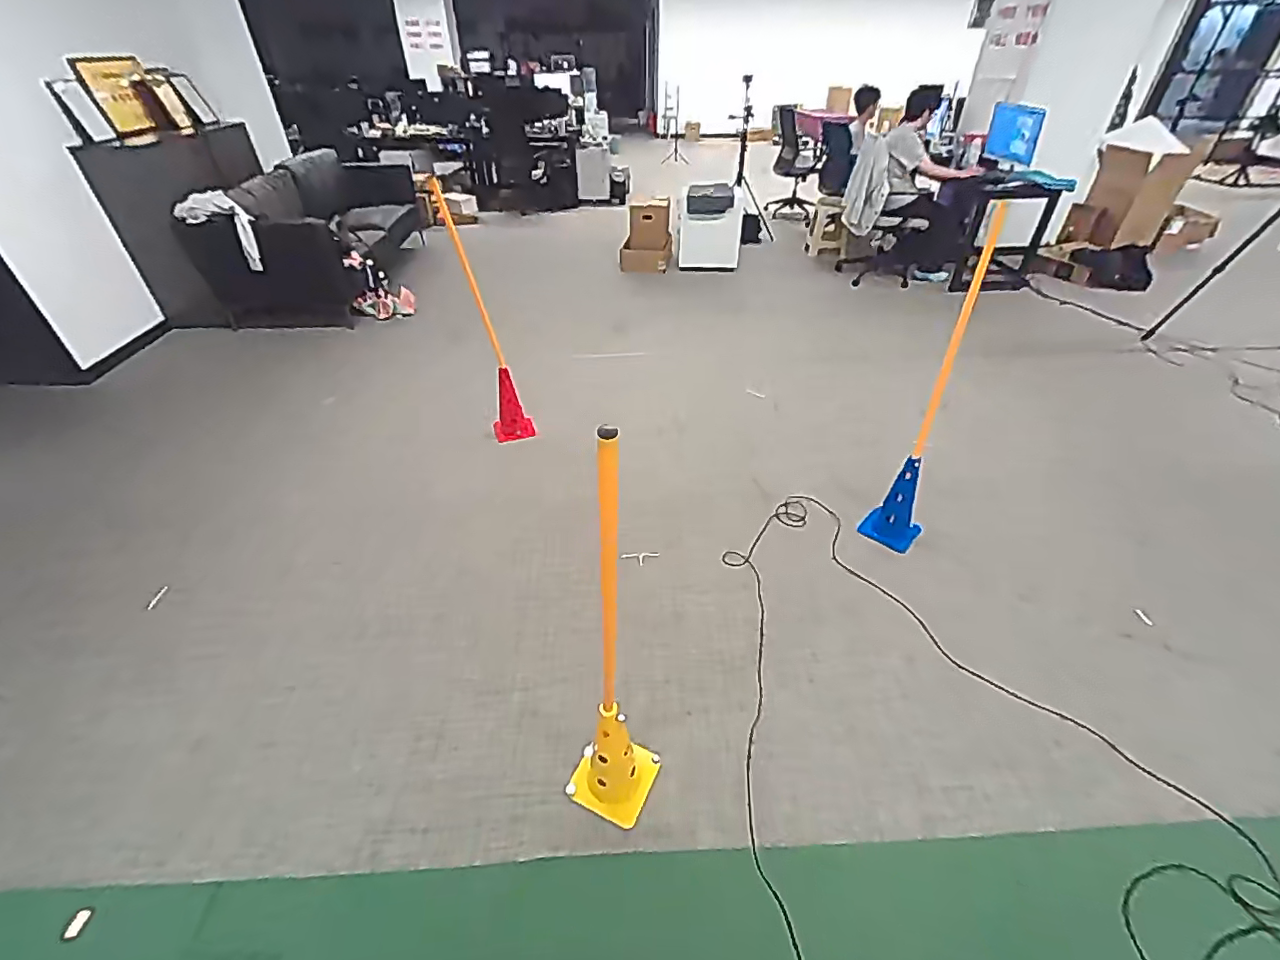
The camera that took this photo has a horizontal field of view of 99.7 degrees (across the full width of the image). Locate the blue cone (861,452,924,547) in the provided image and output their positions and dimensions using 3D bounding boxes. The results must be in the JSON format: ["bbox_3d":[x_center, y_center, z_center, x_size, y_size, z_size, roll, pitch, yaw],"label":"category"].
[{"bbox_3d":[1.009,0.054,2.089,0.192,0.380,0.193,28,44,32],"label":"blue cone"}]
